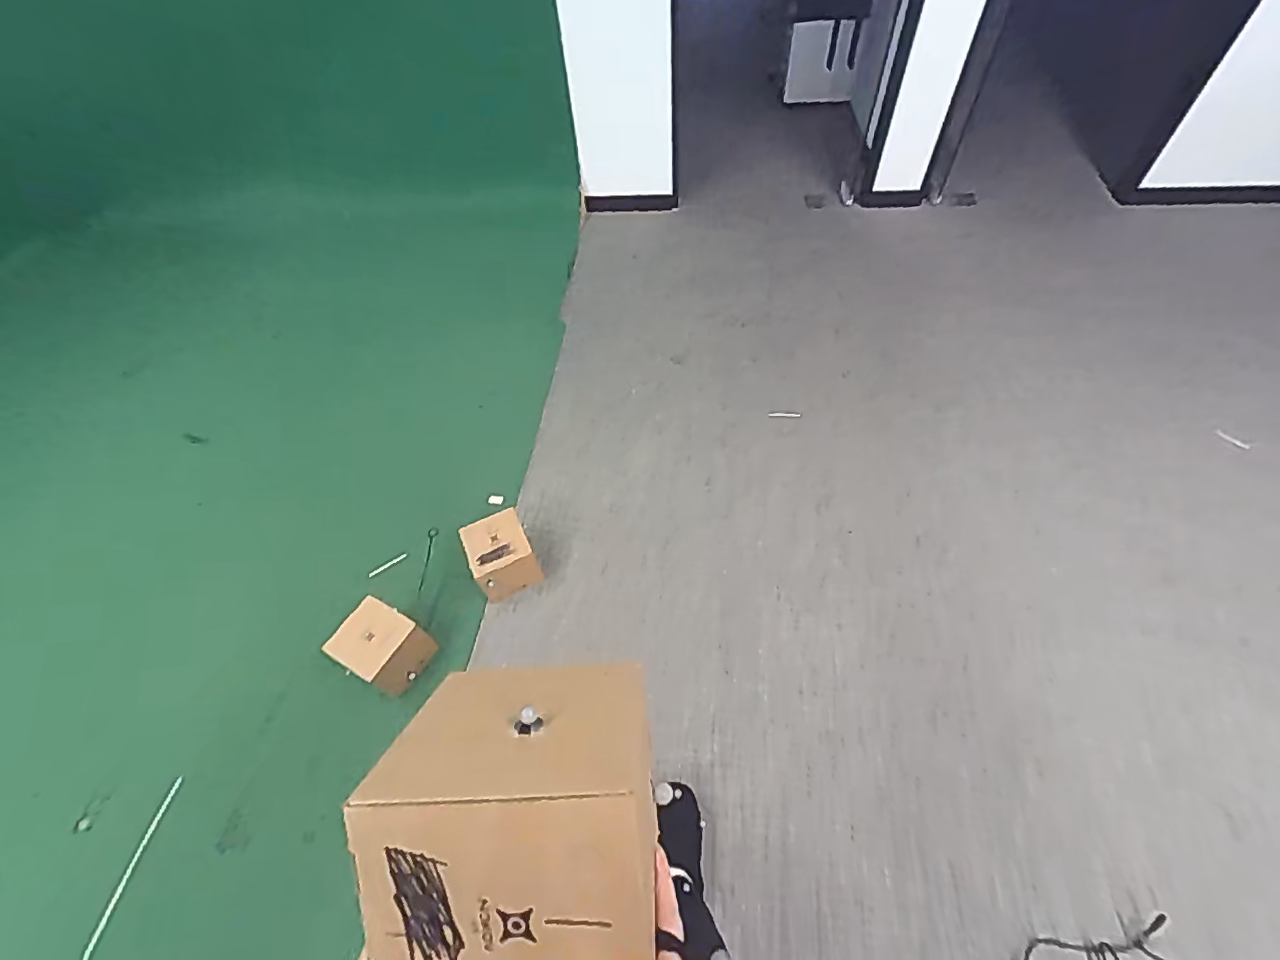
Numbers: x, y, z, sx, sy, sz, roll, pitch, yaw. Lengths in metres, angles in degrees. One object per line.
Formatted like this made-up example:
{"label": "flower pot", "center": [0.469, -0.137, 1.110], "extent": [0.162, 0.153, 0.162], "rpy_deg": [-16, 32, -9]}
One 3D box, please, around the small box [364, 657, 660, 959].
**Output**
{"label": "small box", "center": [-0.076, 0.250, 0.413], "extent": [0.179, 0.176, 0.168], "rpy_deg": [-4, 96, 2]}

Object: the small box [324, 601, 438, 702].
{"label": "small box", "center": [-0.669, 0.452, 1.416], "extent": [0.179, 0.176, 0.168], "rpy_deg": [23, 58, 20]}
